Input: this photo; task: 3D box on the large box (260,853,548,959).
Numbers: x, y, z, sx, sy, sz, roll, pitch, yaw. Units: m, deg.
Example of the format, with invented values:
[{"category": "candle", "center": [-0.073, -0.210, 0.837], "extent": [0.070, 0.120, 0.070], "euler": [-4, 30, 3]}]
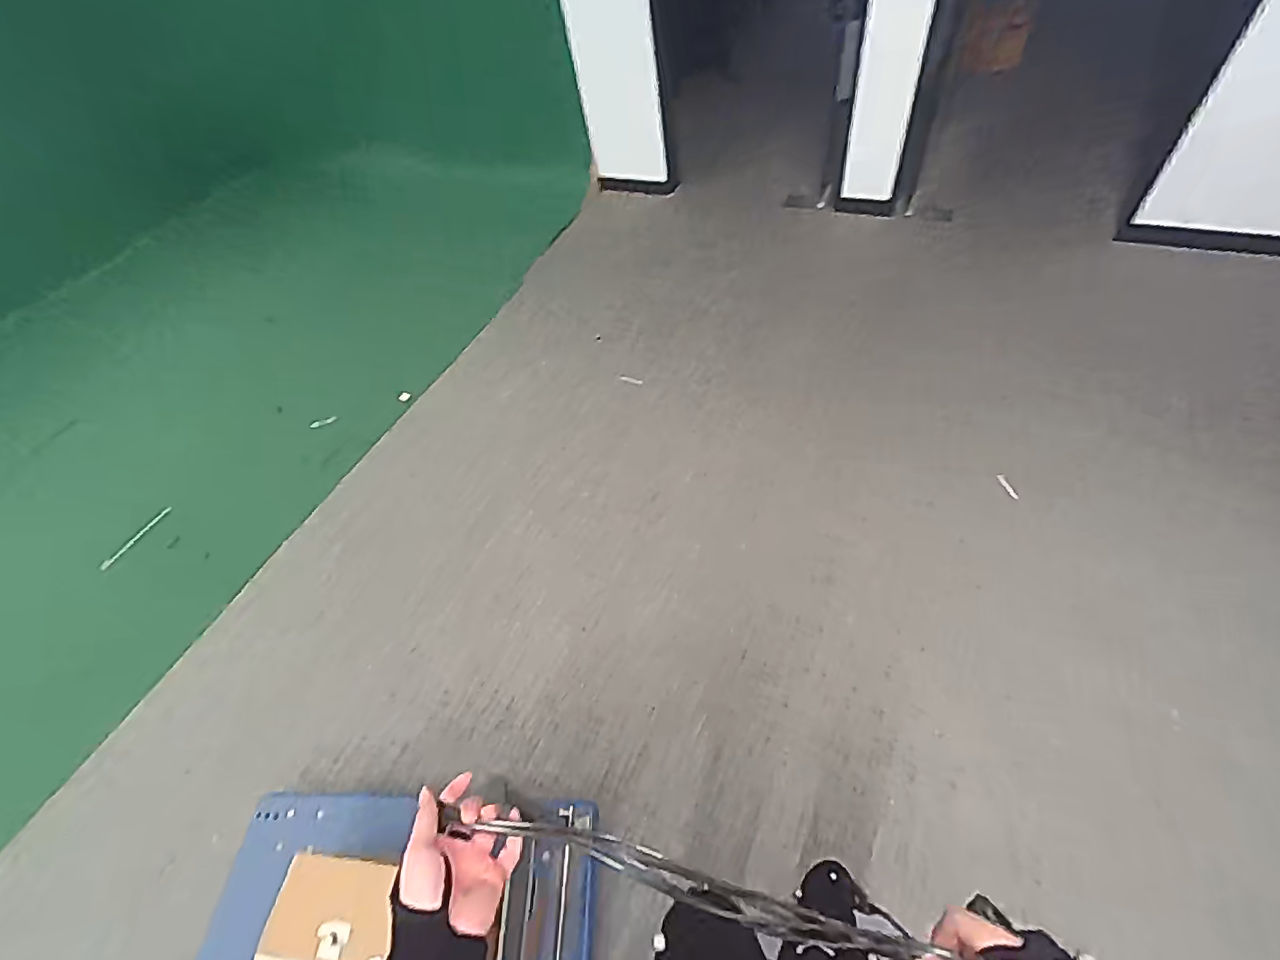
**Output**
[{"category": "large box", "center": [-0.423, 0.895, 0.997], "extent": [0.408, 0.320, 0.320], "euler": [0, 55, 11]}]
